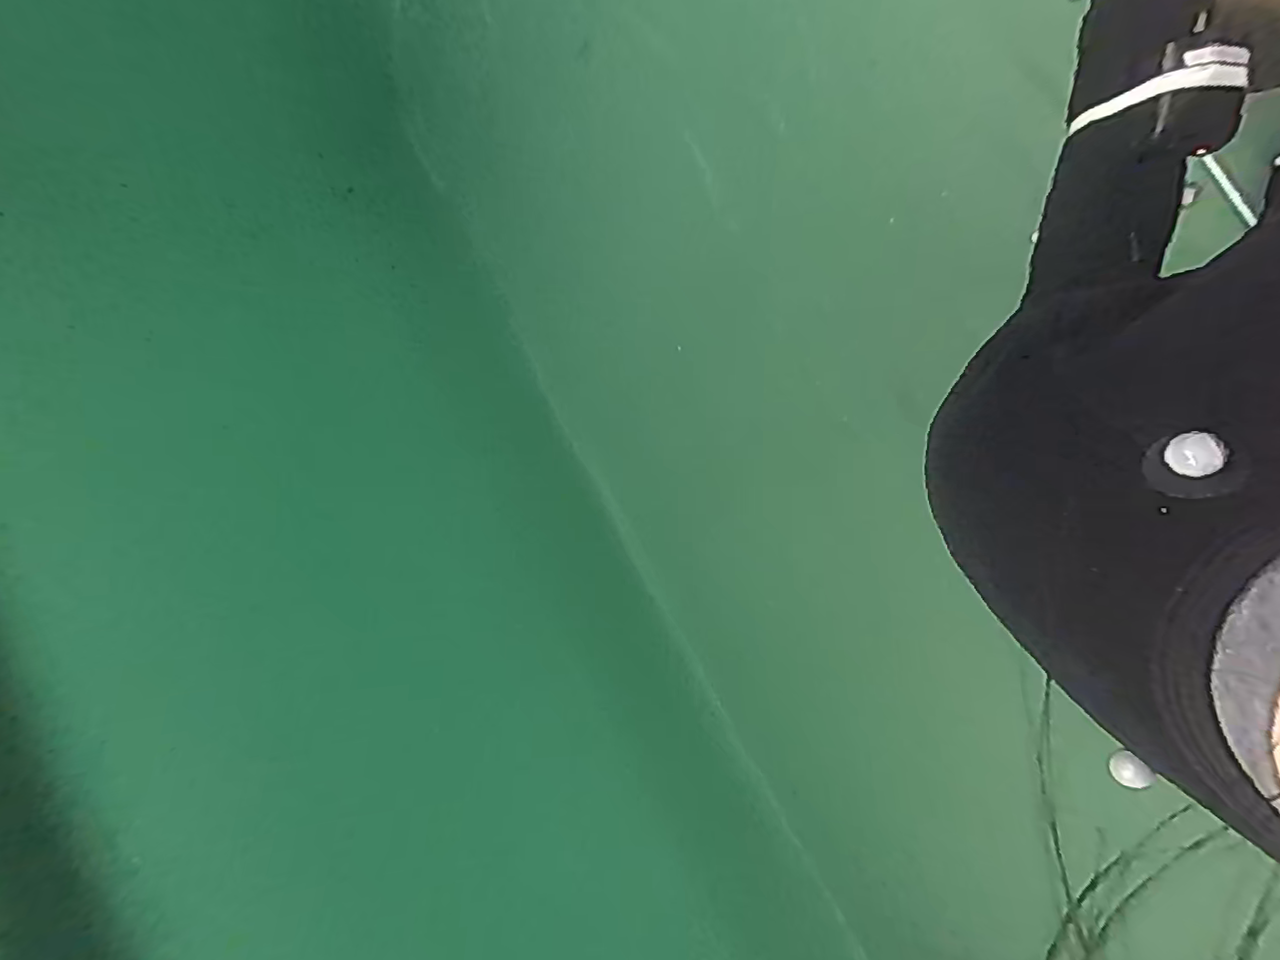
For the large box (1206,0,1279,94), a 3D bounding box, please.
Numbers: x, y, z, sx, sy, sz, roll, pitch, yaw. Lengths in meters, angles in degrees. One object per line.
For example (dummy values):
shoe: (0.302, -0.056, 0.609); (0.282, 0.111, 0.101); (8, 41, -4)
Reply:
large box: (0.600, -0.461, 0.263); (0.408, 0.320, 0.320); (15, 111, 44)
